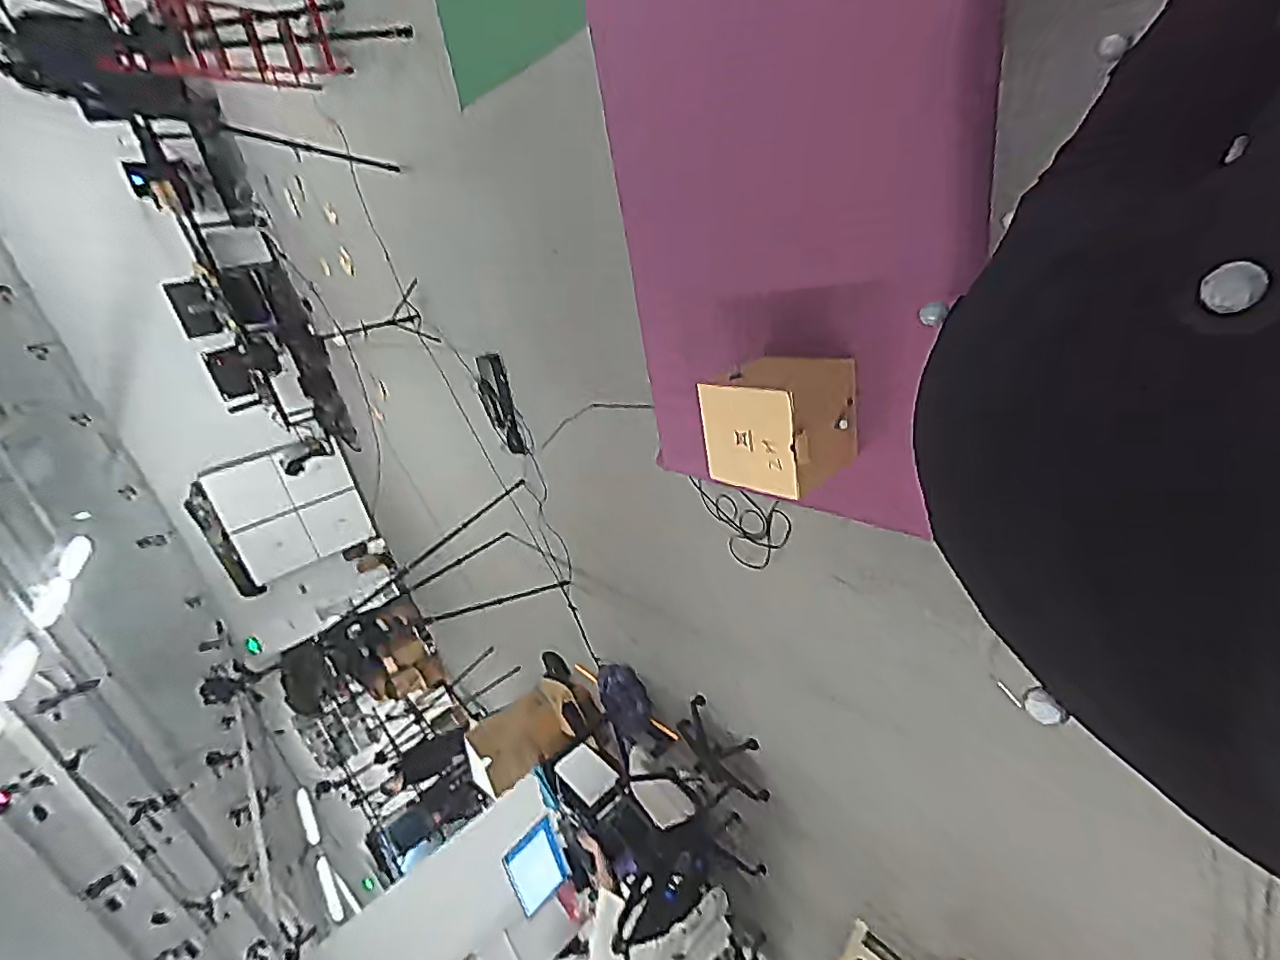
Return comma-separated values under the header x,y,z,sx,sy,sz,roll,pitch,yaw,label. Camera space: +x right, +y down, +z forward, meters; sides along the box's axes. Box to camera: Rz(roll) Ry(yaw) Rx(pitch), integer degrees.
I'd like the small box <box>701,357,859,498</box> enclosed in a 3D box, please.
x,y,z,sx,sy,sz,roll,pitch,yaw,label
0.224,-0.093,0.862,0.179,0.176,0.168,16,125,47,small box
